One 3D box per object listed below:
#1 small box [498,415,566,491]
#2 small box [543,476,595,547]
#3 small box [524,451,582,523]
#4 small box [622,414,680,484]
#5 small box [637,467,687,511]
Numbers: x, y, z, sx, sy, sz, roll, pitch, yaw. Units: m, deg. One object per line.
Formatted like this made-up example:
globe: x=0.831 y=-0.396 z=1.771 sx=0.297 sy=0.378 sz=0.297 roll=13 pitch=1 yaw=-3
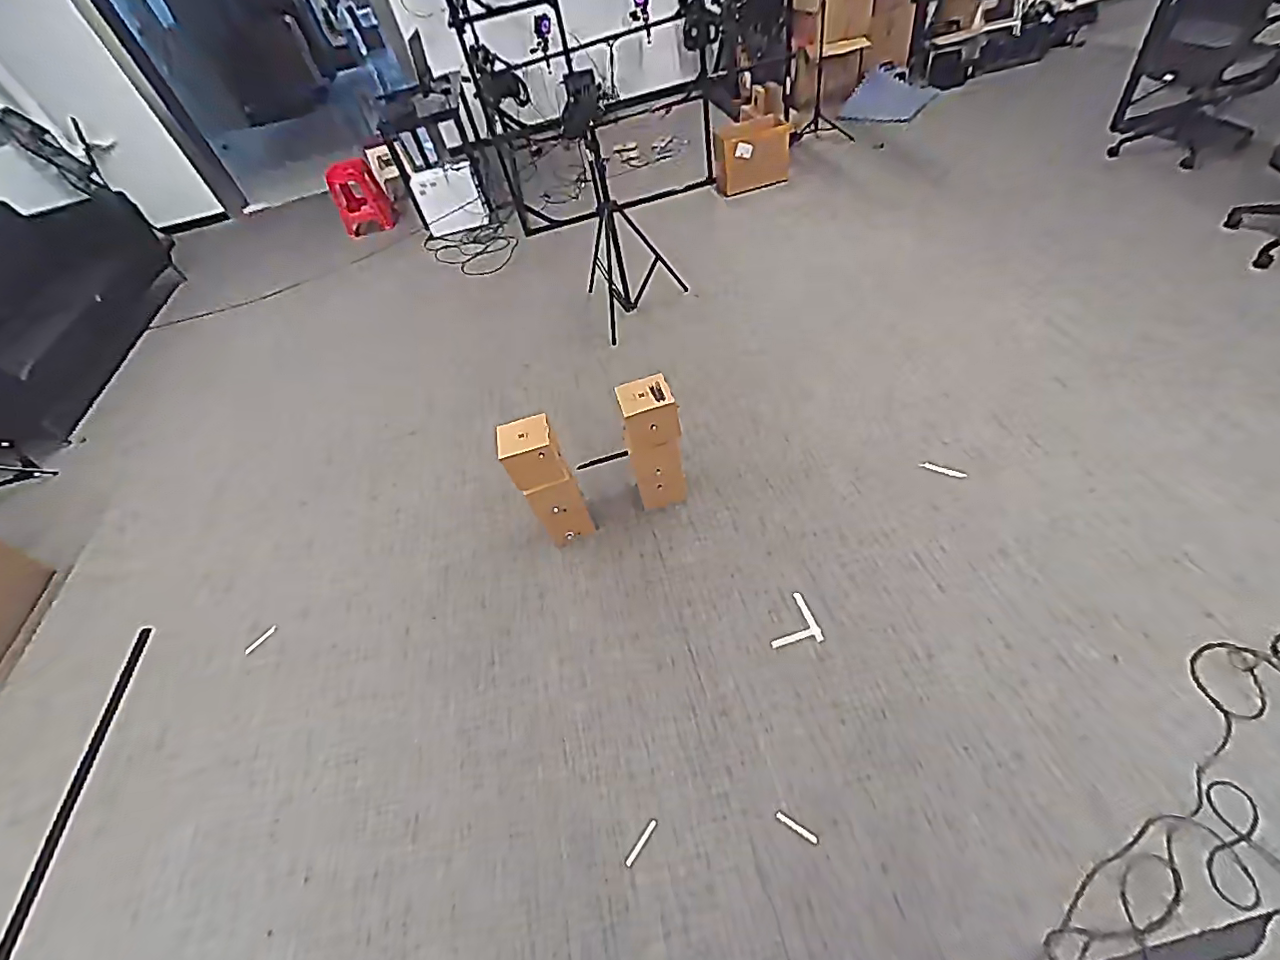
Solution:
small box: x=-0.366 y=-0.087 z=1.833 sx=0.179 sy=0.176 sz=0.168 roll=-16 pitch=48 yaw=0
small box: x=-0.286 y=0.123 z=2.071 sx=0.168 sy=0.176 sz=0.179 roll=-21 pitch=48 yaw=-5
small box: x=-0.321 y=0.023 z=1.946 sx=0.168 sy=0.176 sz=0.179 roll=-20 pitch=49 yaw=-3
small box: x=0.044 y=-0.110 z=1.972 sx=0.179 sy=0.176 sz=0.168 roll=-14 pitch=47 yaw=0
small box: x=0.073 y=-0.003 z=2.093 sx=0.179 sy=0.176 sz=0.168 roll=-15 pitch=48 yaw=-1
